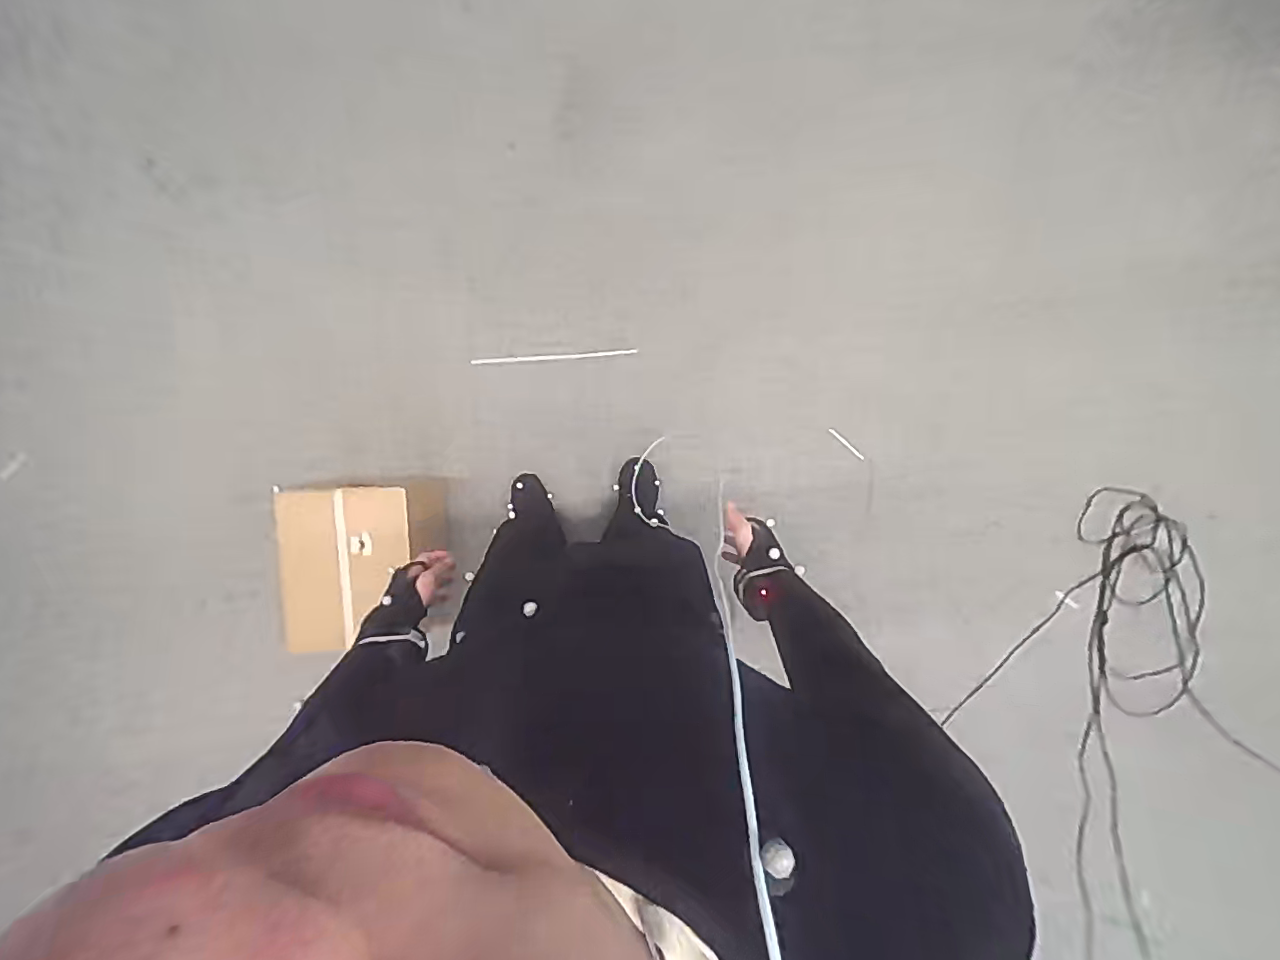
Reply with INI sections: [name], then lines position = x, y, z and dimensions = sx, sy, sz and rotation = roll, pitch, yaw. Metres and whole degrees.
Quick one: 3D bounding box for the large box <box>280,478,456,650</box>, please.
[large box]
position = -0.713, 0.209, 1.473
dimensions = 0.320, 0.320, 0.408
rotation = -2, 95, -3
